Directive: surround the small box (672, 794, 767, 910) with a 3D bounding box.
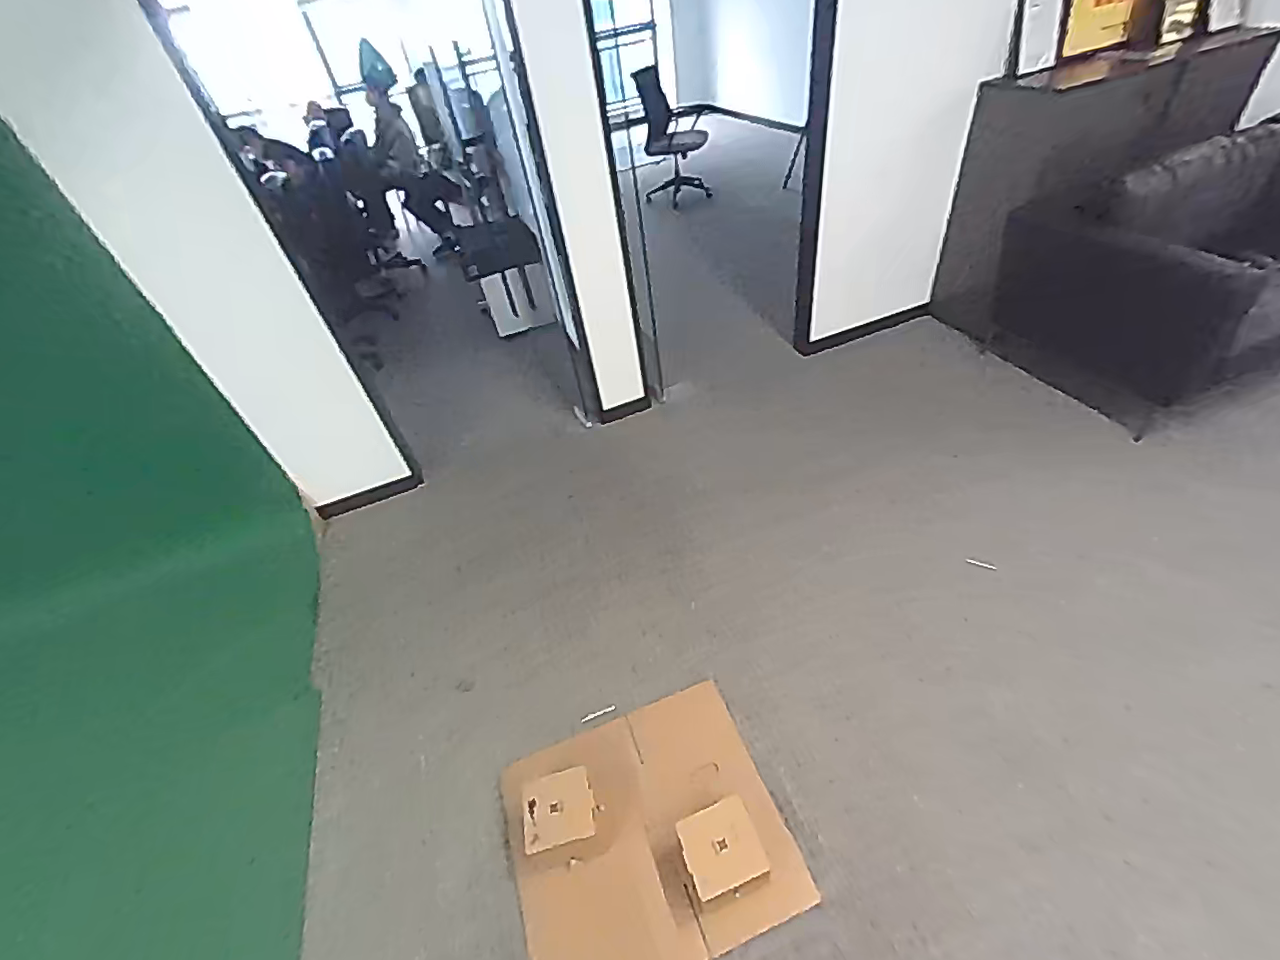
[{"bbox_3d":[0.193,0.902,1.306,0.179,0.176,0.168,-19,44,-9],"label":"small box"}]

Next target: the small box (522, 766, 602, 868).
[{"bbox_3d":[-0.199,0.876,1.405,0.179,0.176,0.168,-13,43,-4],"label":"small box"}]
